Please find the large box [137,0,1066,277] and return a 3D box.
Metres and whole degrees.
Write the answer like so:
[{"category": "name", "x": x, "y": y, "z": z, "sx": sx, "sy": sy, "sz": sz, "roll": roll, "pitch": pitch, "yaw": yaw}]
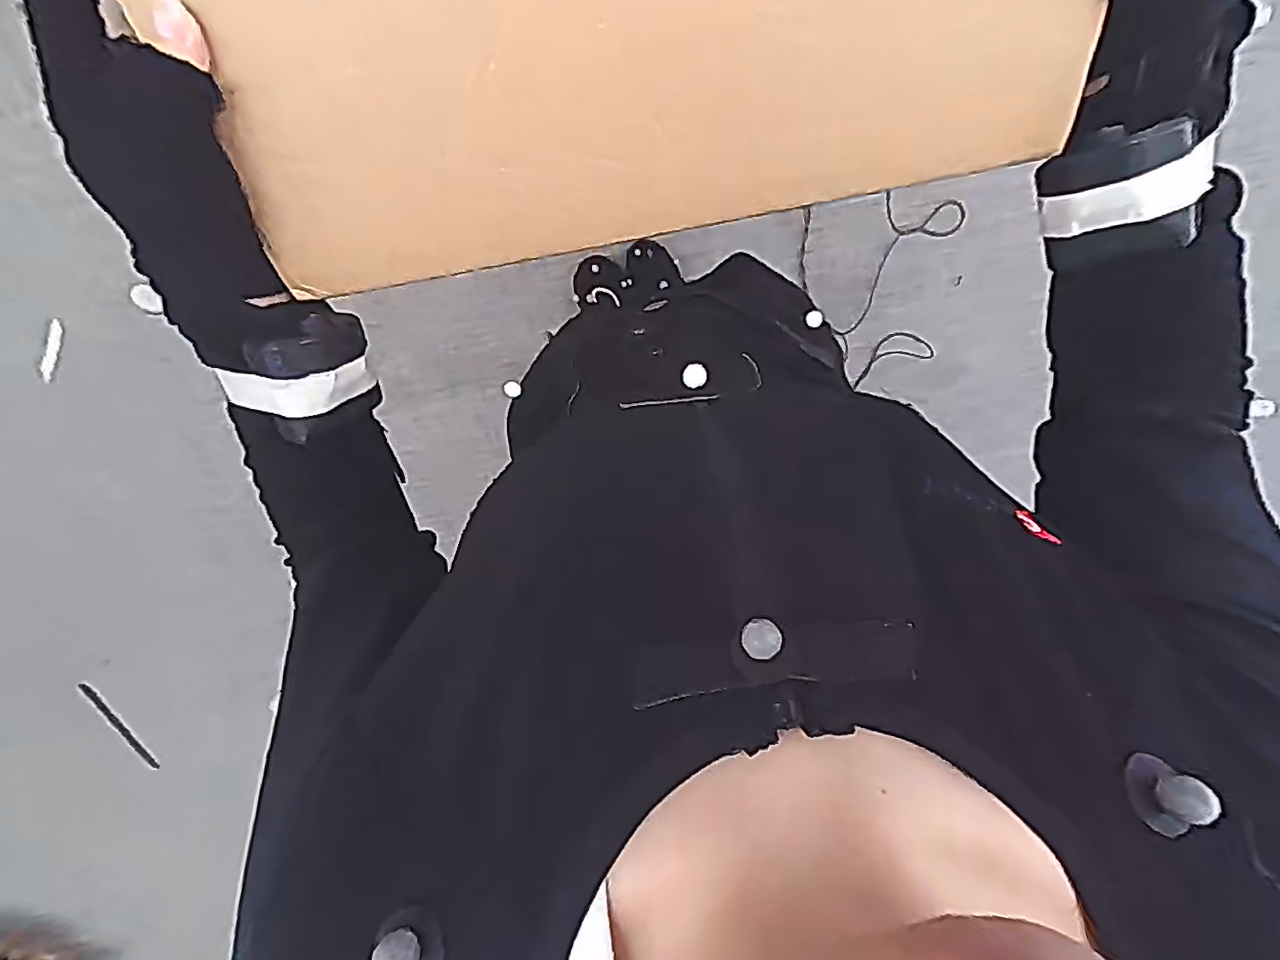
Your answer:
[{"category": "large box", "x": -0.026, "y": -0.355, "z": 0.300, "sx": 0.408, "sy": 0.320, "sz": 0.320, "roll": -10, "pitch": 130, "yaw": 1}]
